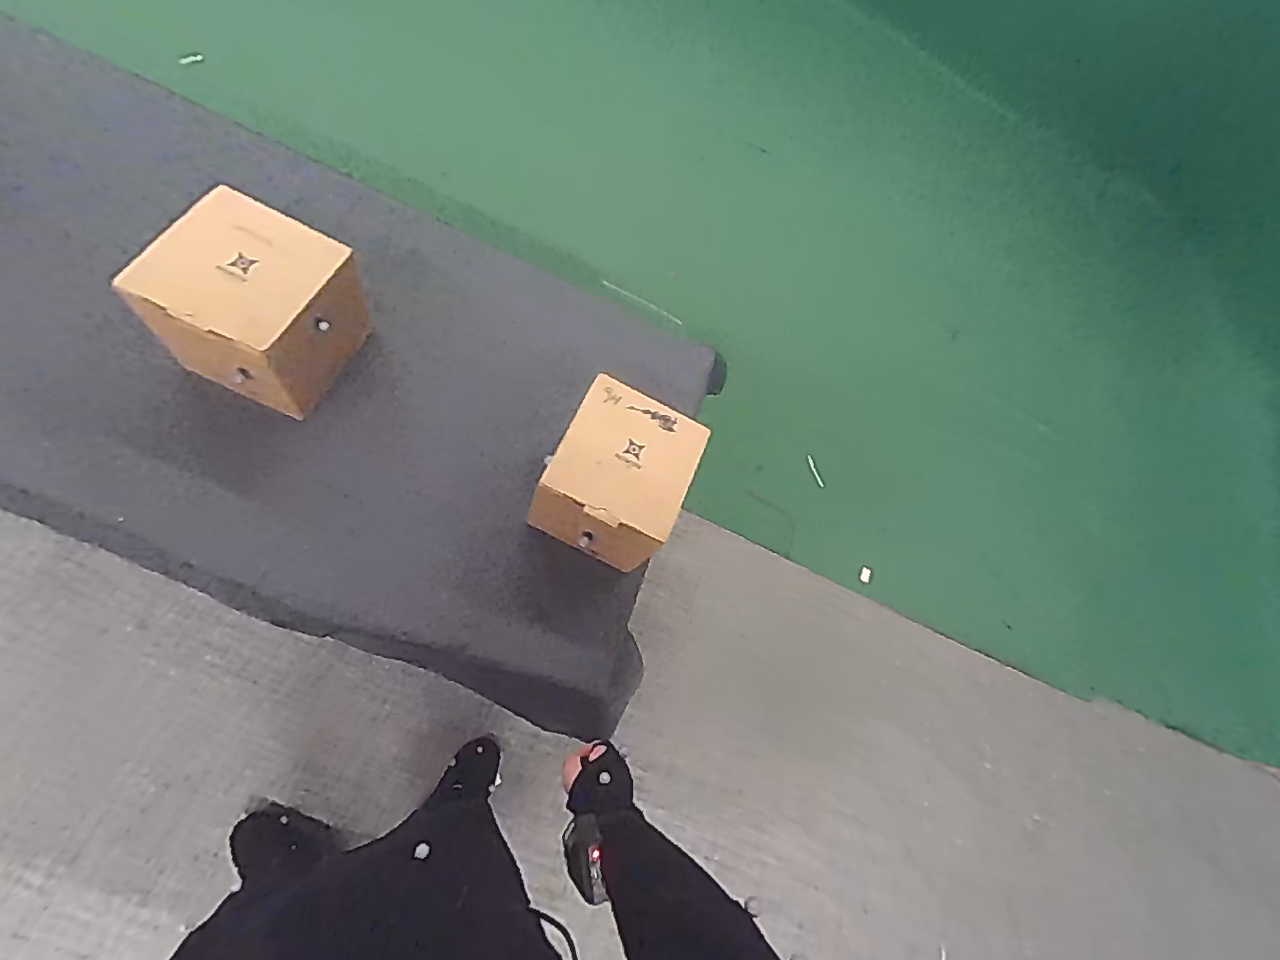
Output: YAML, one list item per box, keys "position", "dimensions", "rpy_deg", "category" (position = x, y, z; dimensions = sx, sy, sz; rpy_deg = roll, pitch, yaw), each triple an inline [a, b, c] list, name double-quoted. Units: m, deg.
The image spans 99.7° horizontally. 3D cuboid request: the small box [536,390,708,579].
- position: [-0.032, 0.017, 0.742]
  dimensions: [0.168, 0.176, 0.179]
  rpy_deg: [27, 64, -5]
  category: "small box"
